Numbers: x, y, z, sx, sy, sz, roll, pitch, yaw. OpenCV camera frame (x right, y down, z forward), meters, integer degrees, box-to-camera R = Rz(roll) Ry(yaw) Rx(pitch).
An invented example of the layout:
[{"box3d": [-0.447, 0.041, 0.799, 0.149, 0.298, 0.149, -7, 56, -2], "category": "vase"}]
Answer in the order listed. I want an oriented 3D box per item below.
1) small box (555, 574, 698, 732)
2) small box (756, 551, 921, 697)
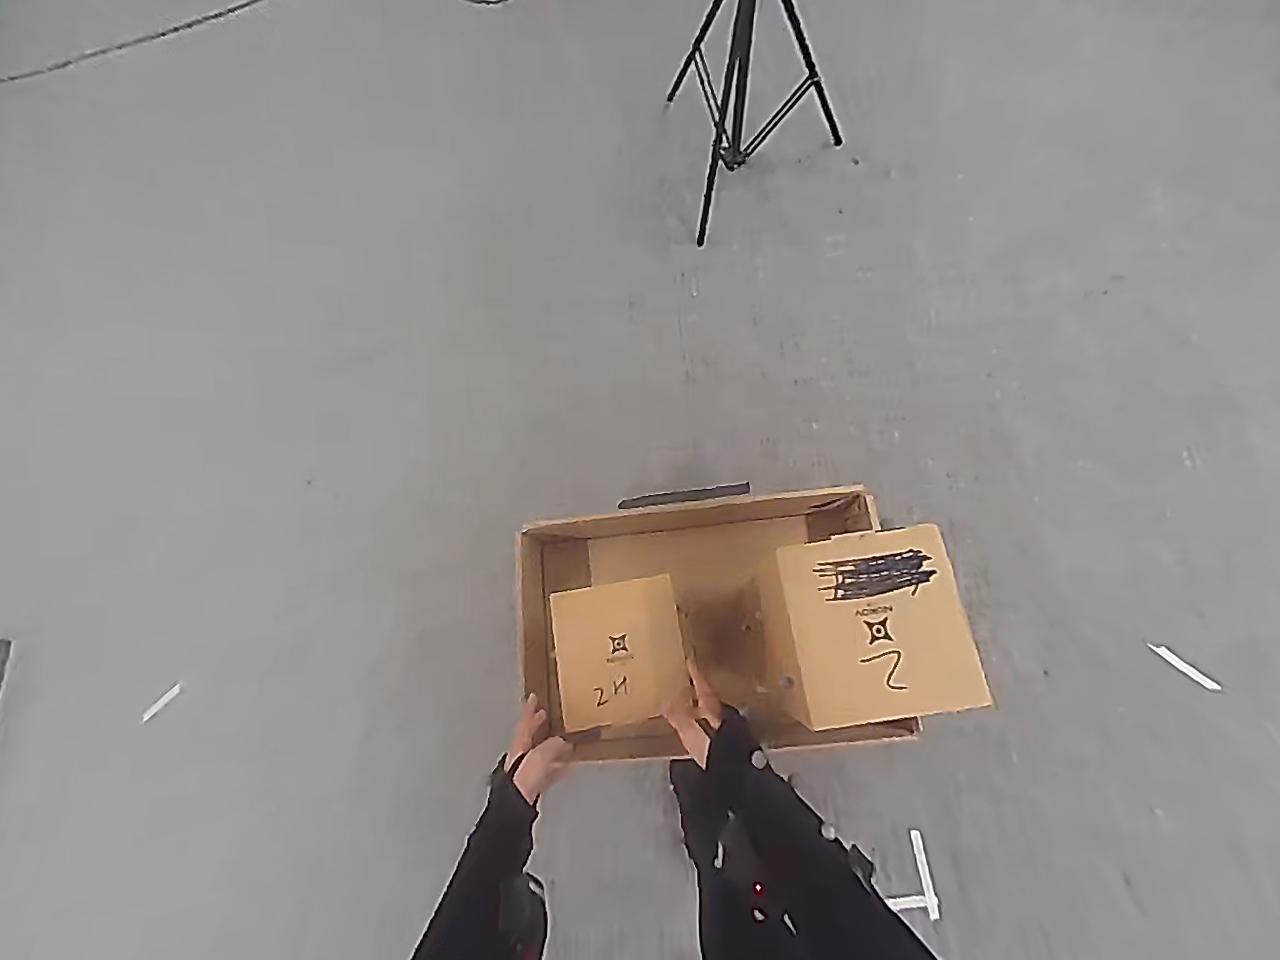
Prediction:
[{"box3d": [-0.016, 0.242, 0.769, 0.168, 0.176, 0.179, -10, 73, 2], "category": "small box"}, {"box3d": [0.259, 0.202, 0.752, 0.168, 0.176, 0.179, -3, 73, 4], "category": "small box"}]
